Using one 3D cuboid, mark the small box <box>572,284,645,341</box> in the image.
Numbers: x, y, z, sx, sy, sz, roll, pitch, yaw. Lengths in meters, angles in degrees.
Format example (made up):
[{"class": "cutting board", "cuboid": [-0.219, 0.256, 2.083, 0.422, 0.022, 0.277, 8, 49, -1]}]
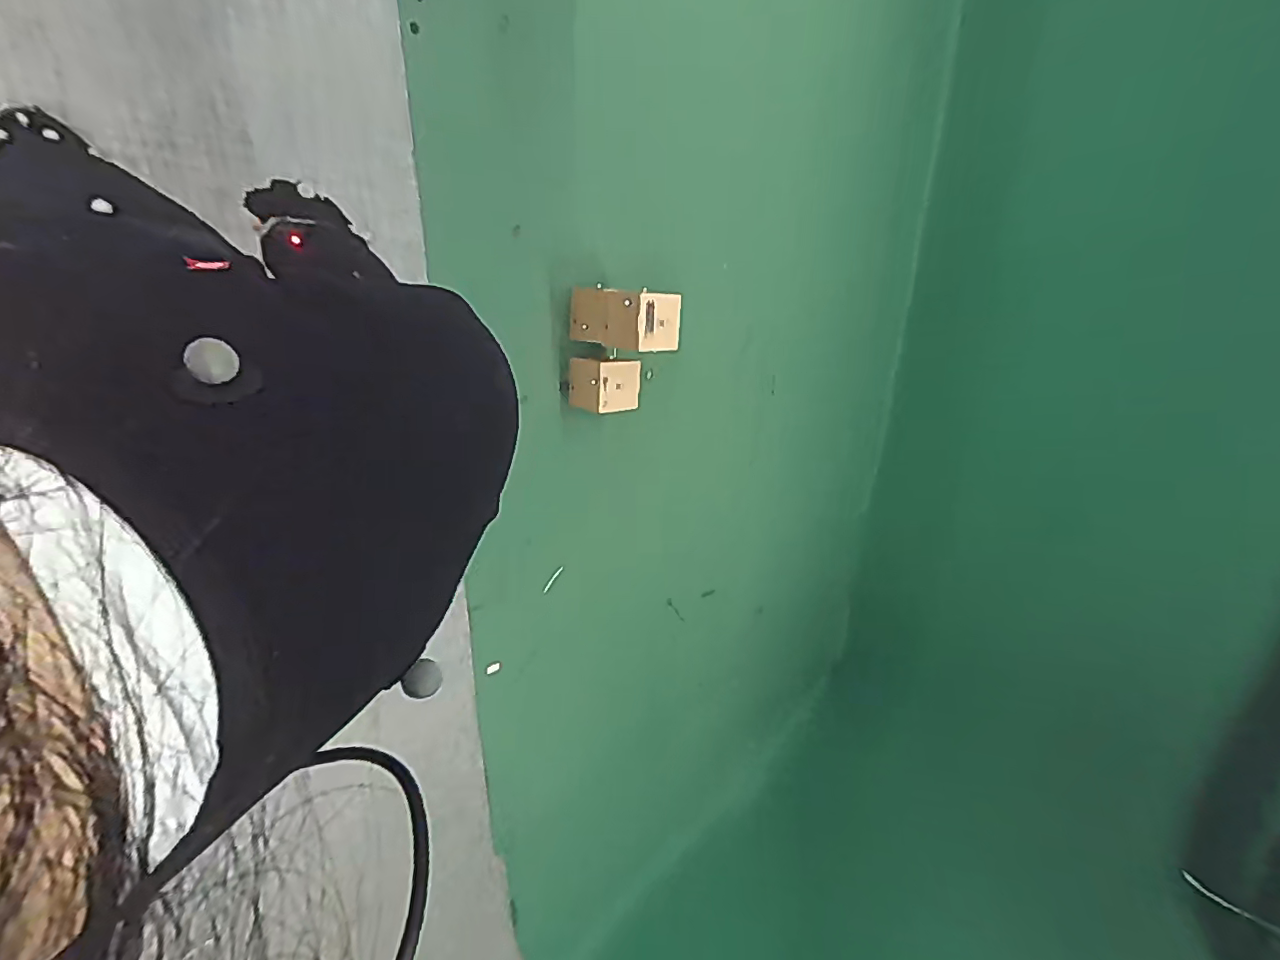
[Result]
[{"class": "small box", "cuboid": [-0.107, -0.548, 1.771, 0.179, 0.176, 0.168, -12, 114, -42]}]
